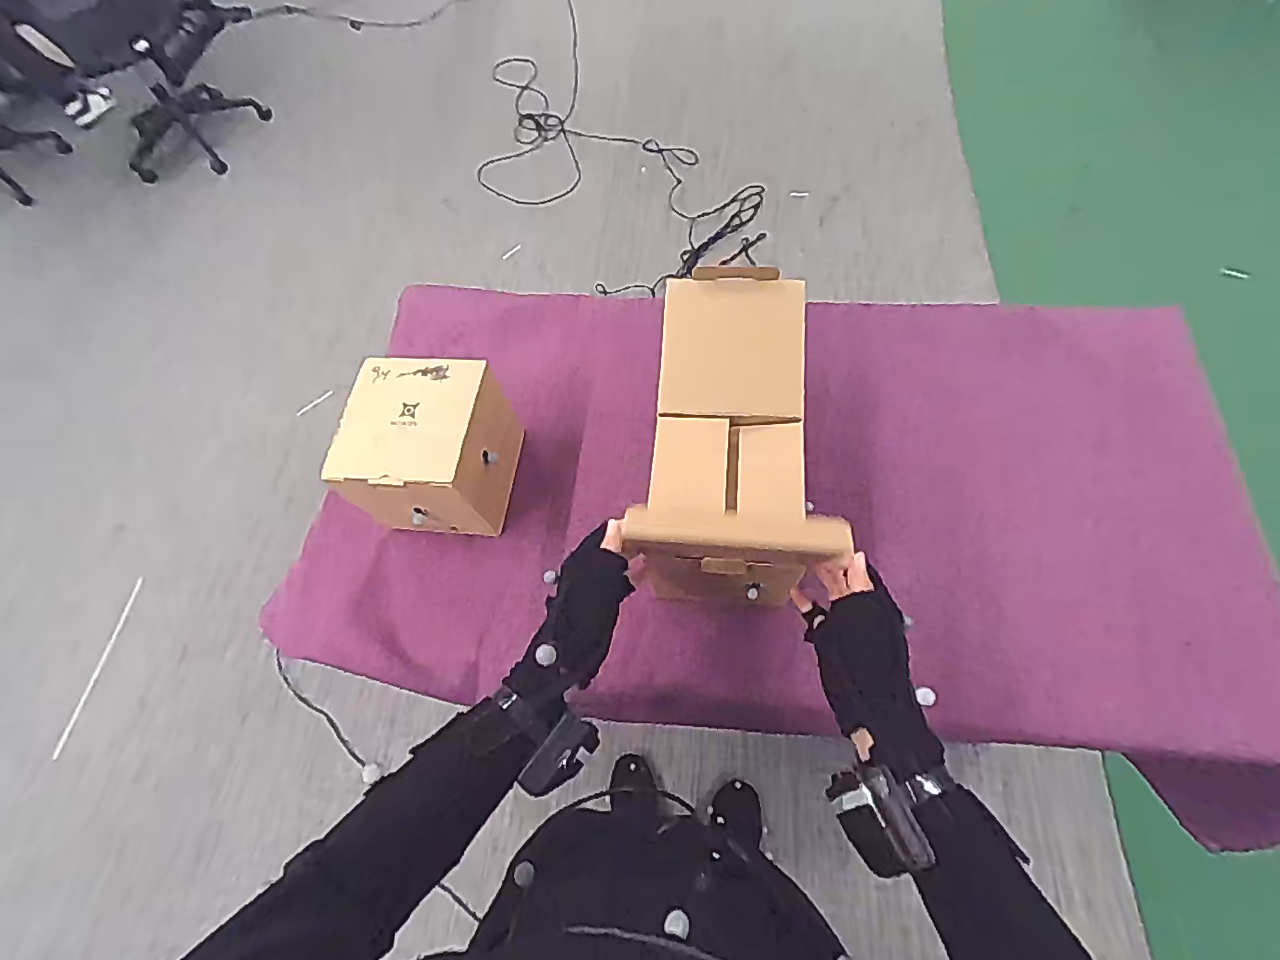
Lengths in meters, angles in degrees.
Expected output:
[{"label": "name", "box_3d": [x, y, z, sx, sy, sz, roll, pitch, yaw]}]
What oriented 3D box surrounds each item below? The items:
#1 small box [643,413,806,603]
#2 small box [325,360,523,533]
[{"label": "small box", "box_3d": [0.100, 0.041, 0.643, 0.168, 0.176, 0.179, 3, 64, 7]}, {"label": "small box", "box_3d": [-0.269, -0.038, 0.721, 0.168, 0.176, 0.179, 3, 65, 7]}]
